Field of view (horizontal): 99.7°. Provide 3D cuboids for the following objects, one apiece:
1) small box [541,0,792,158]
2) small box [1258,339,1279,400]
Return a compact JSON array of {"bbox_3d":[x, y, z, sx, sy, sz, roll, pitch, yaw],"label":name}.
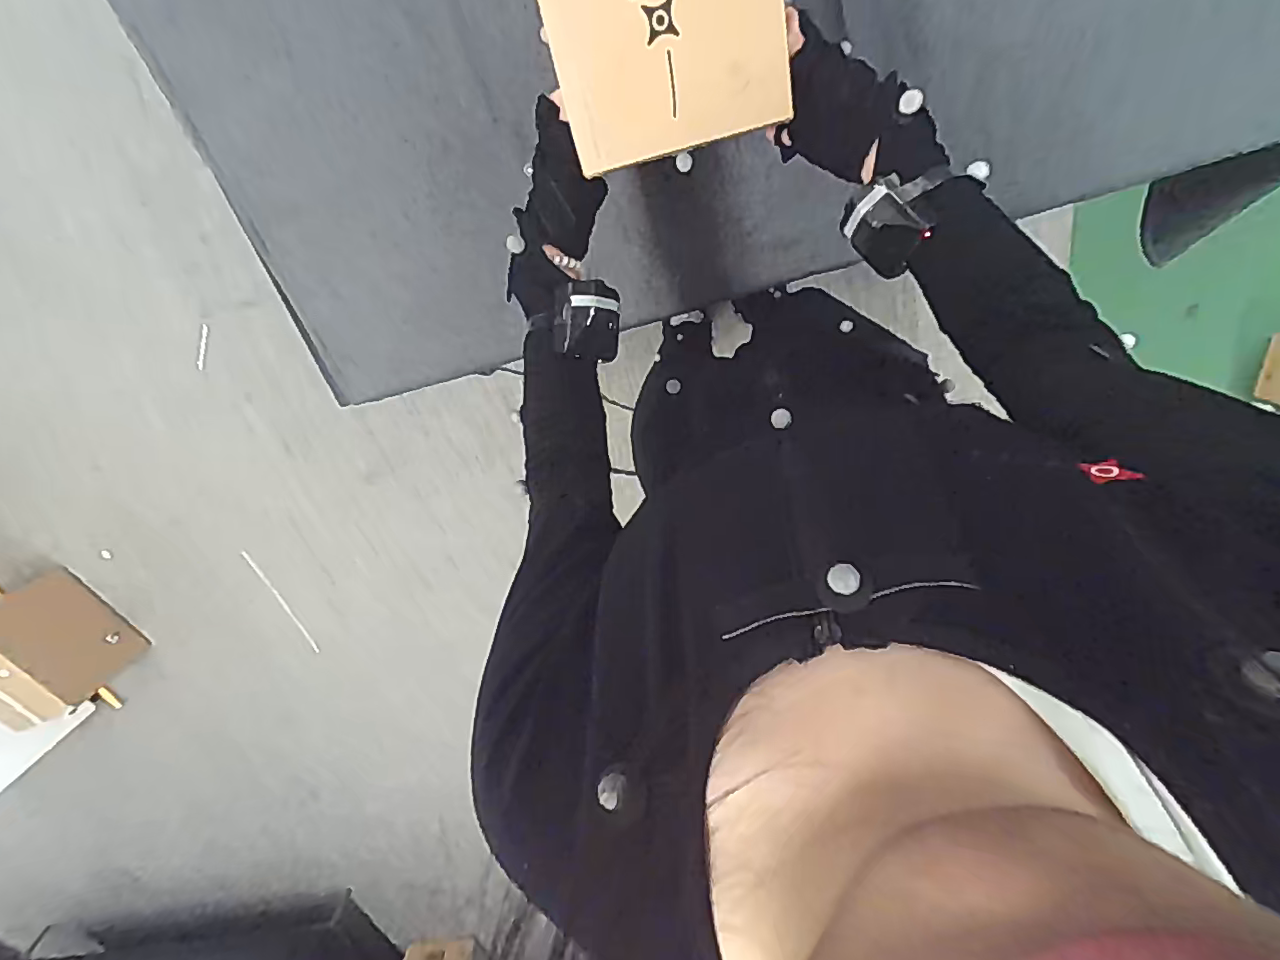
[{"bbox_3d":[0.021,-0.374,0.429,0.168,0.176,0.179,-8,121,13],"label":"small box"},{"bbox_3d":[1.624,-0.264,1.254,0.179,0.176,0.168,-8,116,8],"label":"small box"}]
